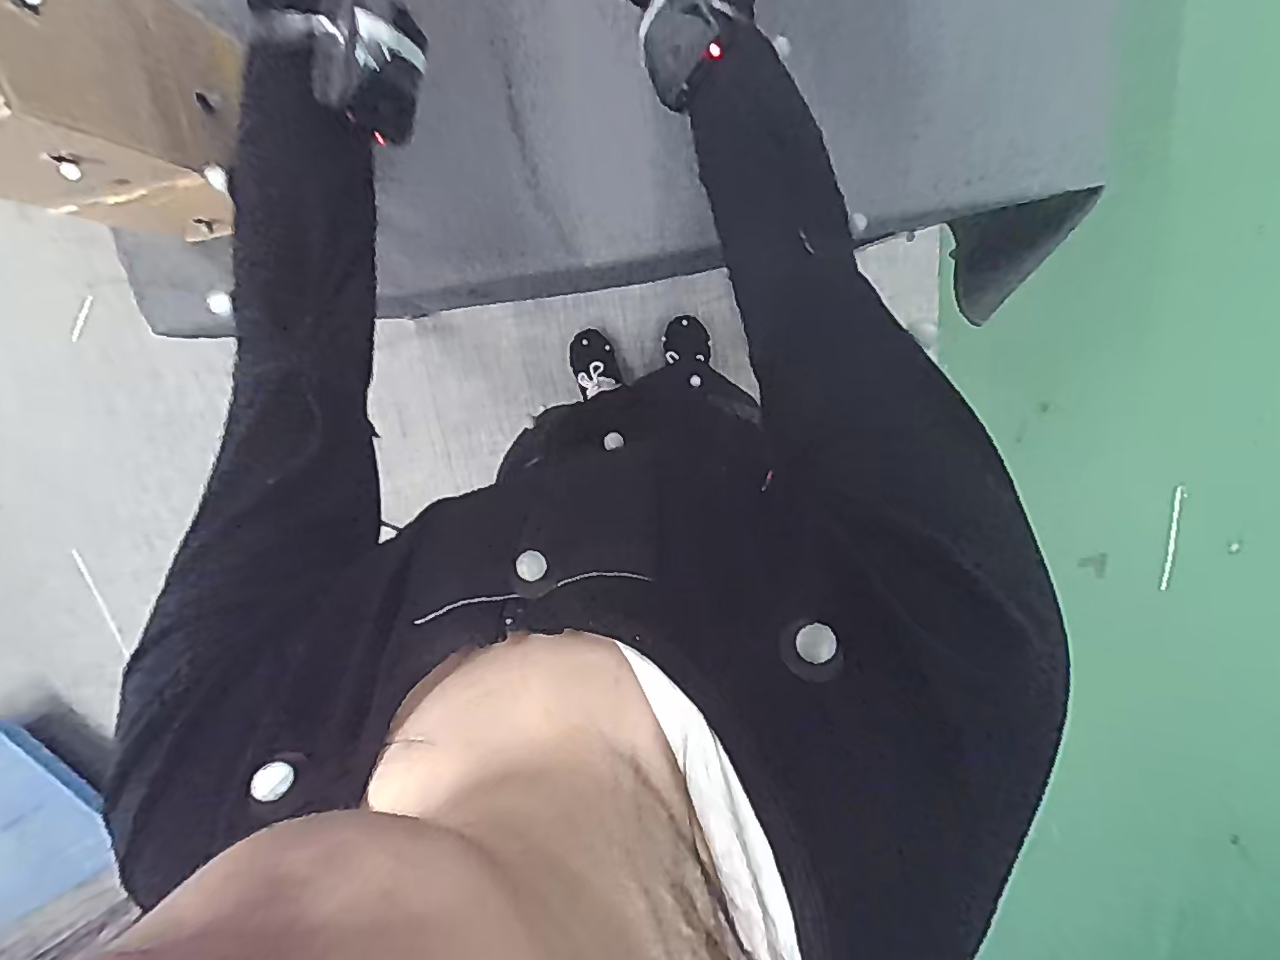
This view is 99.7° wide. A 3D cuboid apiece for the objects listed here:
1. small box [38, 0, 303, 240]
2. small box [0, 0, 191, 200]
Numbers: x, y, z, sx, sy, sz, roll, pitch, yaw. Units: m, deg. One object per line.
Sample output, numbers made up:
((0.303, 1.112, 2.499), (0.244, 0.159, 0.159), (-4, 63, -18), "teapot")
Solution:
((-0.504, -0.370, 0.569), (0.168, 0.176, 0.179), (-10, 106, 4), "small box")
((-0.504, -0.329, 0.411), (0.168, 0.176, 0.179), (-9, 106, 3), "small box")
